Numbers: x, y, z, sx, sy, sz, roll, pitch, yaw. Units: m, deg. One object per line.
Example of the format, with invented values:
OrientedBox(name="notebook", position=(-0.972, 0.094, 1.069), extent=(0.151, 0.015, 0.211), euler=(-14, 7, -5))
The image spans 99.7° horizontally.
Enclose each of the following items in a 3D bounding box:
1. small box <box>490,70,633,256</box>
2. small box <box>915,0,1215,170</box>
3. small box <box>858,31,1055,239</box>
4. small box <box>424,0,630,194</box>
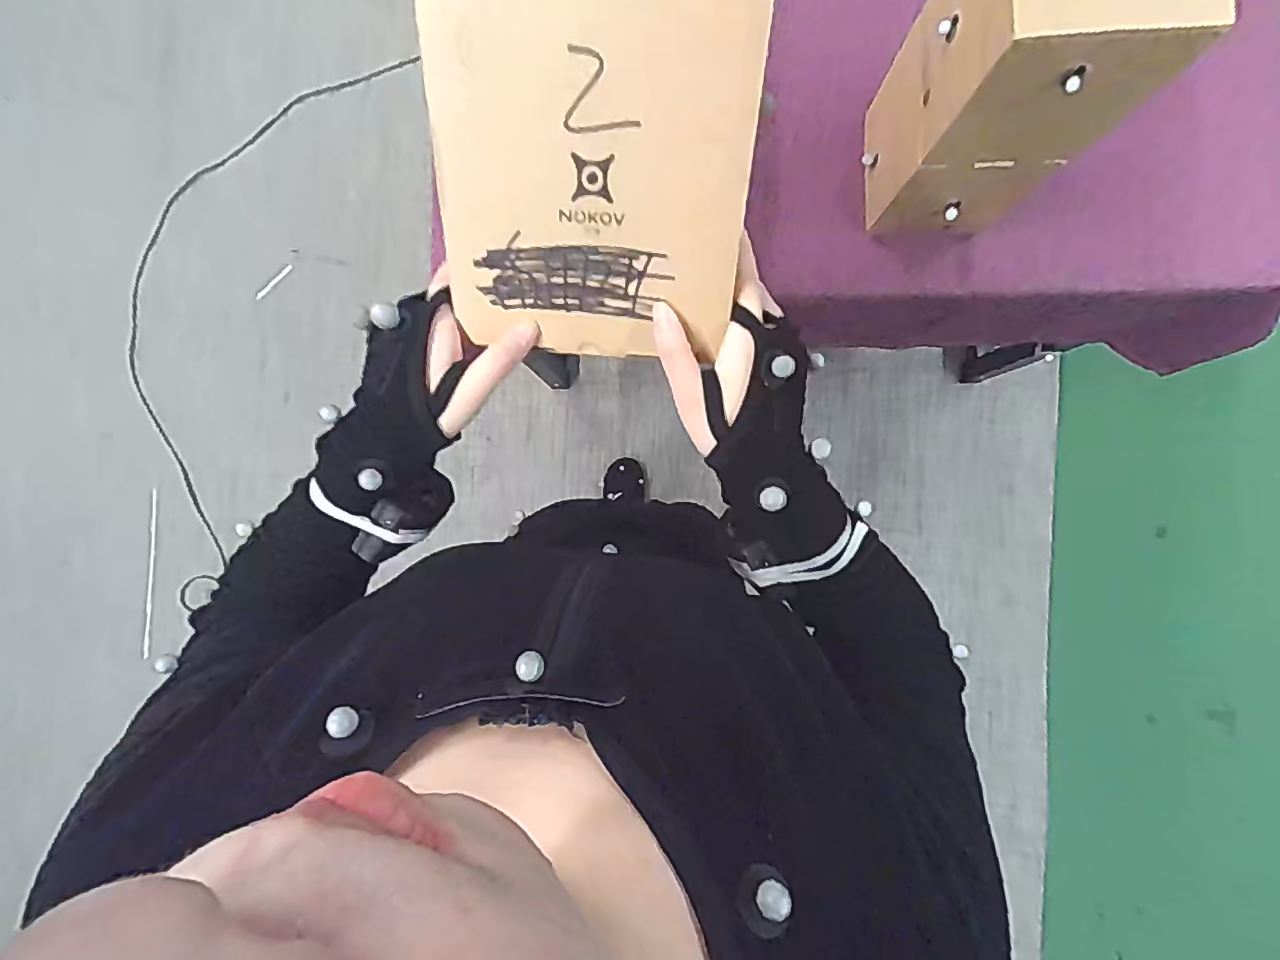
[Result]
OrientedBox(name="small box", position=(-0.094, -0.411, 0.715), extent=(0.168, 0.176, 0.179), euler=(-1, 87, 1))
OrientedBox(name="small box", position=(0.392, -0.433, 0.534), extent=(0.179, 0.176, 0.168), euler=(0, 88, 2))
OrientedBox(name="small box", position=(0.395, -0.430, 0.700), extent=(0.168, 0.176, 0.179), euler=(0, 89, 2))
OrientedBox(name="small box", position=(-0.103, -0.417, 0.553), extent=(0.179, 0.176, 0.168), euler=(-3, 88, 0))
